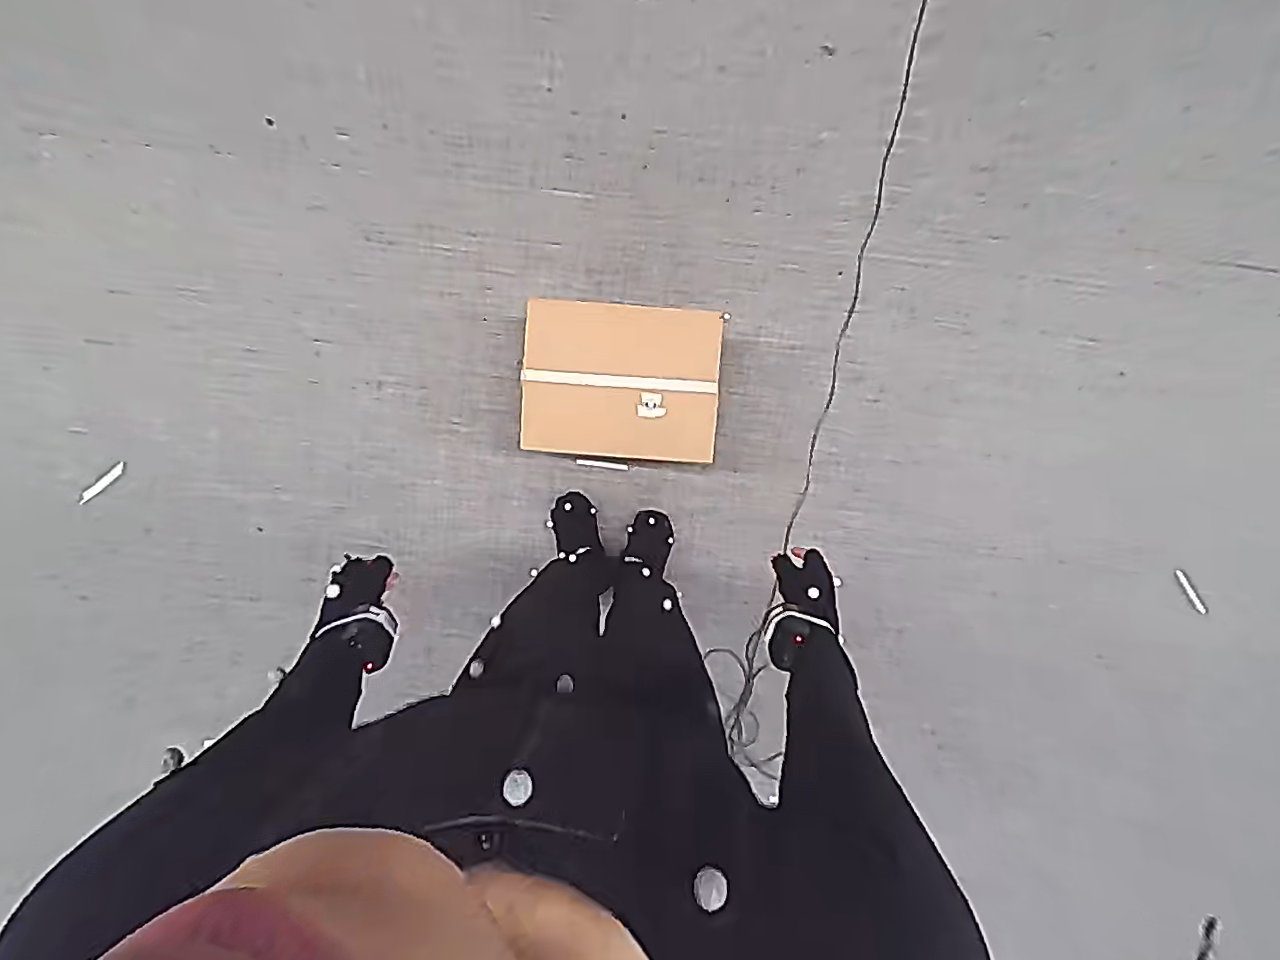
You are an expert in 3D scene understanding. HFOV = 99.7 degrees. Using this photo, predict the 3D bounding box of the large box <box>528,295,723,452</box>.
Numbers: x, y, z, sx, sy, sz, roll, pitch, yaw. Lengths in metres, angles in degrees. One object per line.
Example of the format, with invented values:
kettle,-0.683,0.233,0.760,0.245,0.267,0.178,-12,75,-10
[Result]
large box,-0.037,-0.231,1.278,0.408,0.320,0.320,4,95,-1
